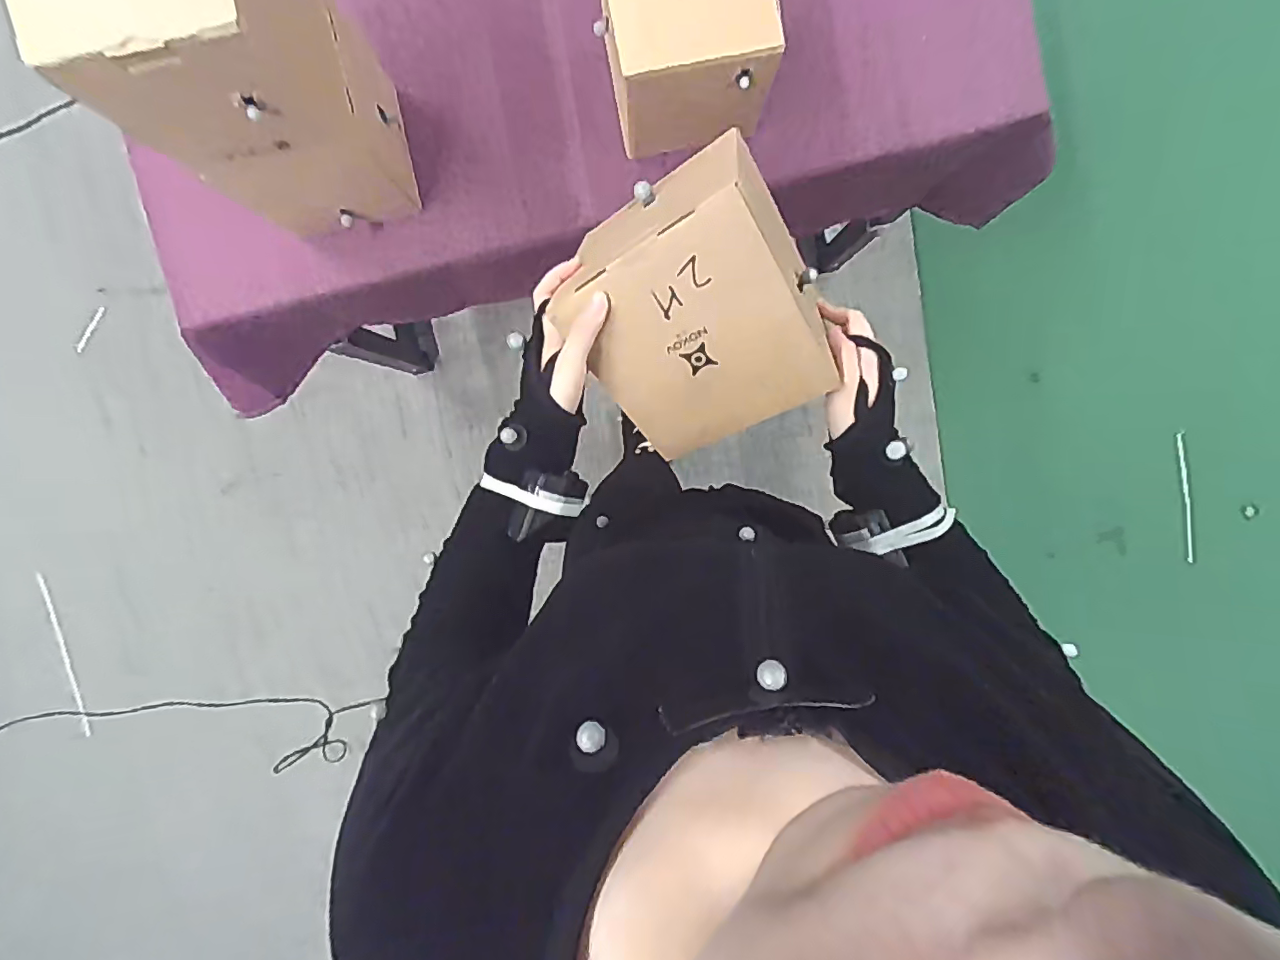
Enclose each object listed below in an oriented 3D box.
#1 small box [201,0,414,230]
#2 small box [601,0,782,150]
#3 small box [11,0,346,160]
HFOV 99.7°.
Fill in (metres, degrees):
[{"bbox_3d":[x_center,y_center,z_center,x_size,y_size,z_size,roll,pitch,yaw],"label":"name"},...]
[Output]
[{"bbox_3d":[-0.391,-0.422,0.643,0.179,0.176,0.168,-12,95,1],"label":"small box"},{"bbox_3d":[0.050,-0.520,0.633,0.179,0.176,0.168,-10,94,1],"label":"small box"},{"bbox_3d":[-0.392,-0.413,0.478,0.168,0.176,0.179,-10,94,1],"label":"small box"}]
